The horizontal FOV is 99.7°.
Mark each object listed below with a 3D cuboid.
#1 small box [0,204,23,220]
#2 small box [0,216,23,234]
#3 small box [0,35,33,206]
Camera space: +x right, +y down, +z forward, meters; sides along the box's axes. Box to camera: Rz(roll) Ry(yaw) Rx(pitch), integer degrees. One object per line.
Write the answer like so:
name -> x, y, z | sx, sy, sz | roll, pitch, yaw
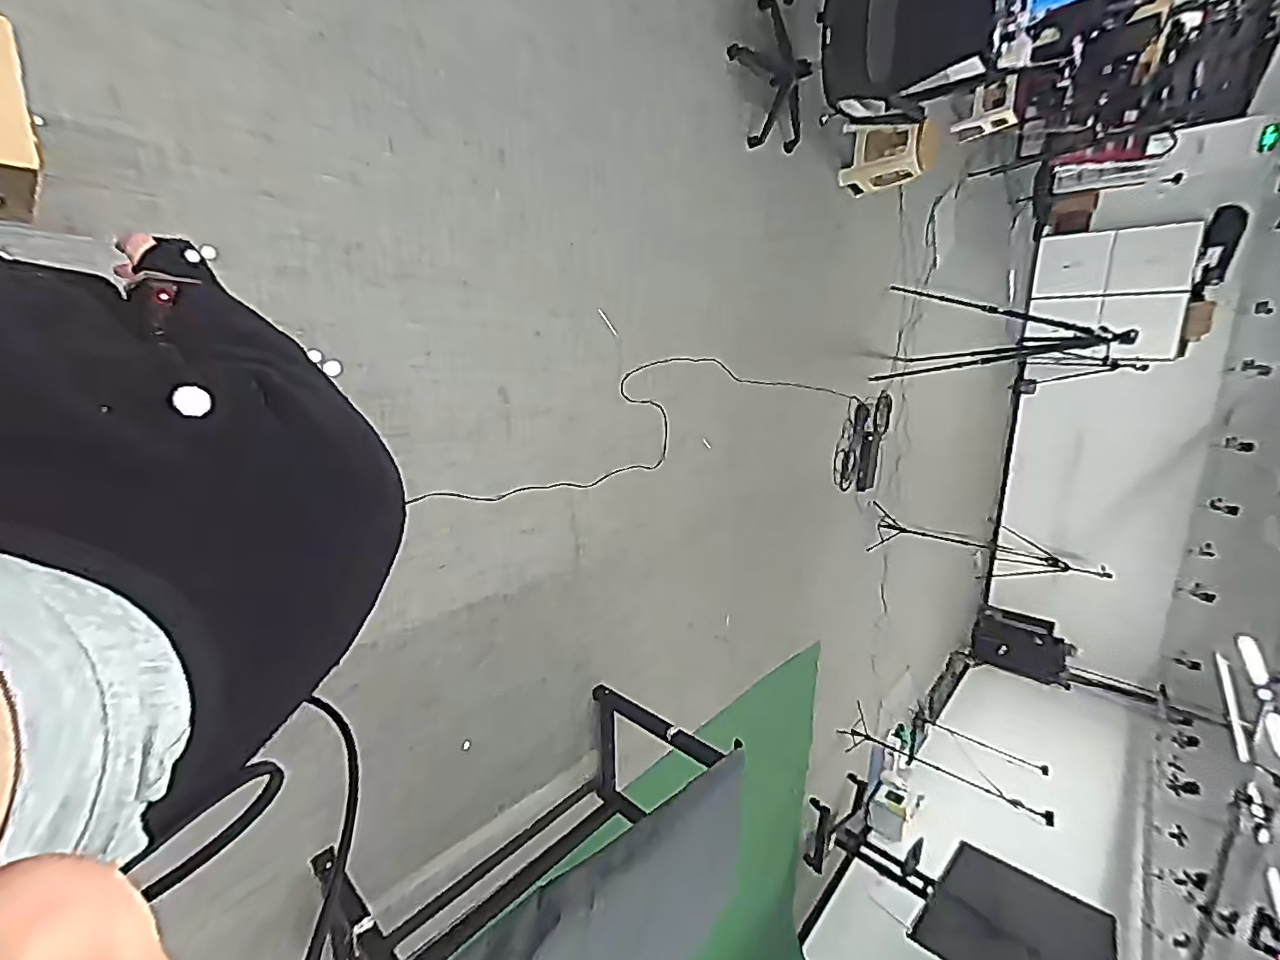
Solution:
small box -> -1.019, -0.488, 0.771 | 0.168, 0.176, 0.179 | -14, 107, -48
small box -> -1.141, -0.510, 0.875 | 0.168, 0.176, 0.179 | -15, 110, -48
small box -> -0.894, -0.462, 0.668 | 0.168, 0.176, 0.179 | -13, 109, -48
